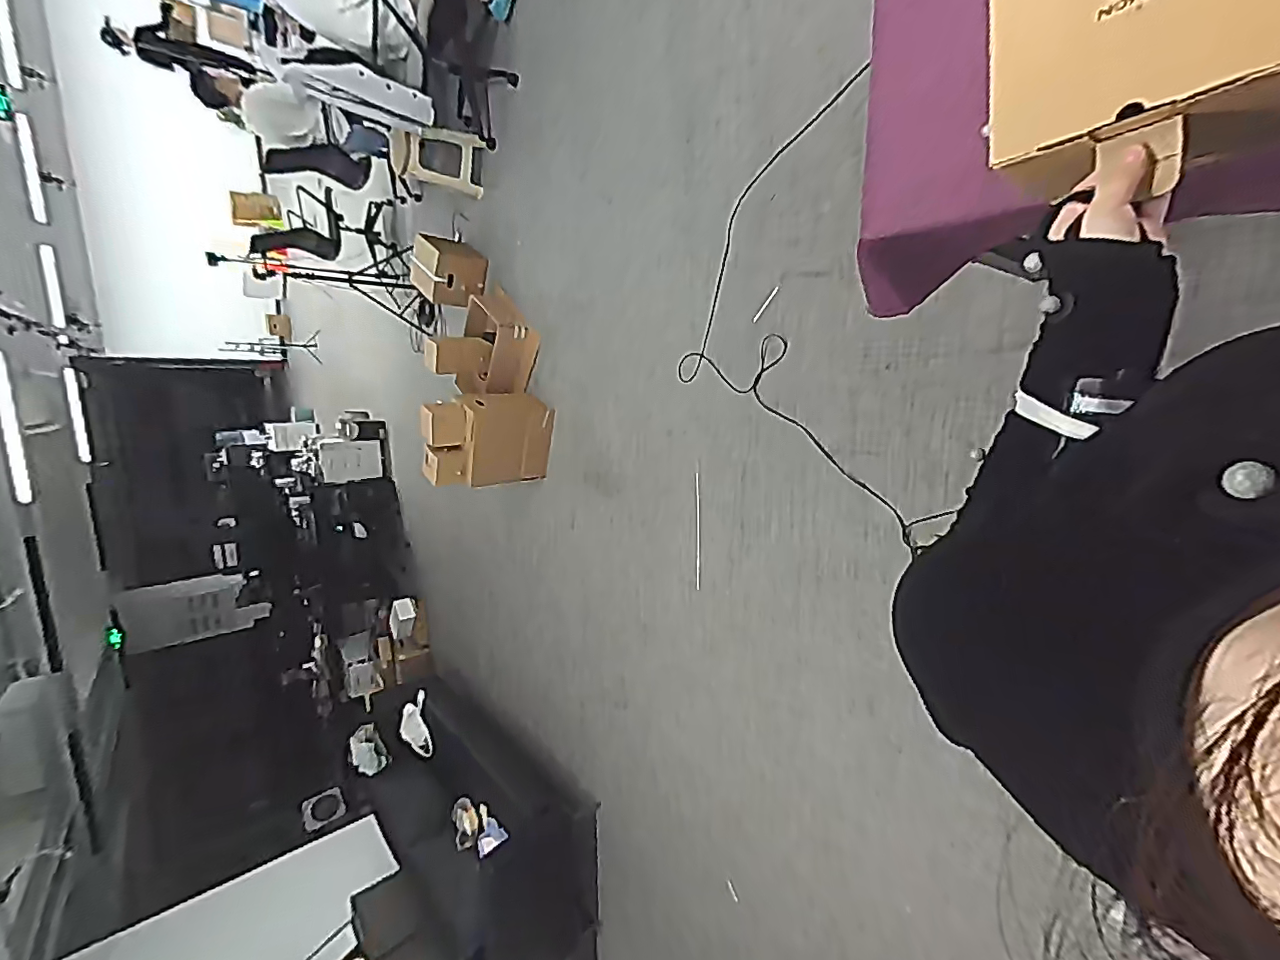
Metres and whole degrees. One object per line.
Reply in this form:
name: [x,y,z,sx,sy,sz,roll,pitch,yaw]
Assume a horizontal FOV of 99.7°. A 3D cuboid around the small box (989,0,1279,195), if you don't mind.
small box: [0.388,-0.347,0.413,0.168,0.176,0.179,4,103,50]
